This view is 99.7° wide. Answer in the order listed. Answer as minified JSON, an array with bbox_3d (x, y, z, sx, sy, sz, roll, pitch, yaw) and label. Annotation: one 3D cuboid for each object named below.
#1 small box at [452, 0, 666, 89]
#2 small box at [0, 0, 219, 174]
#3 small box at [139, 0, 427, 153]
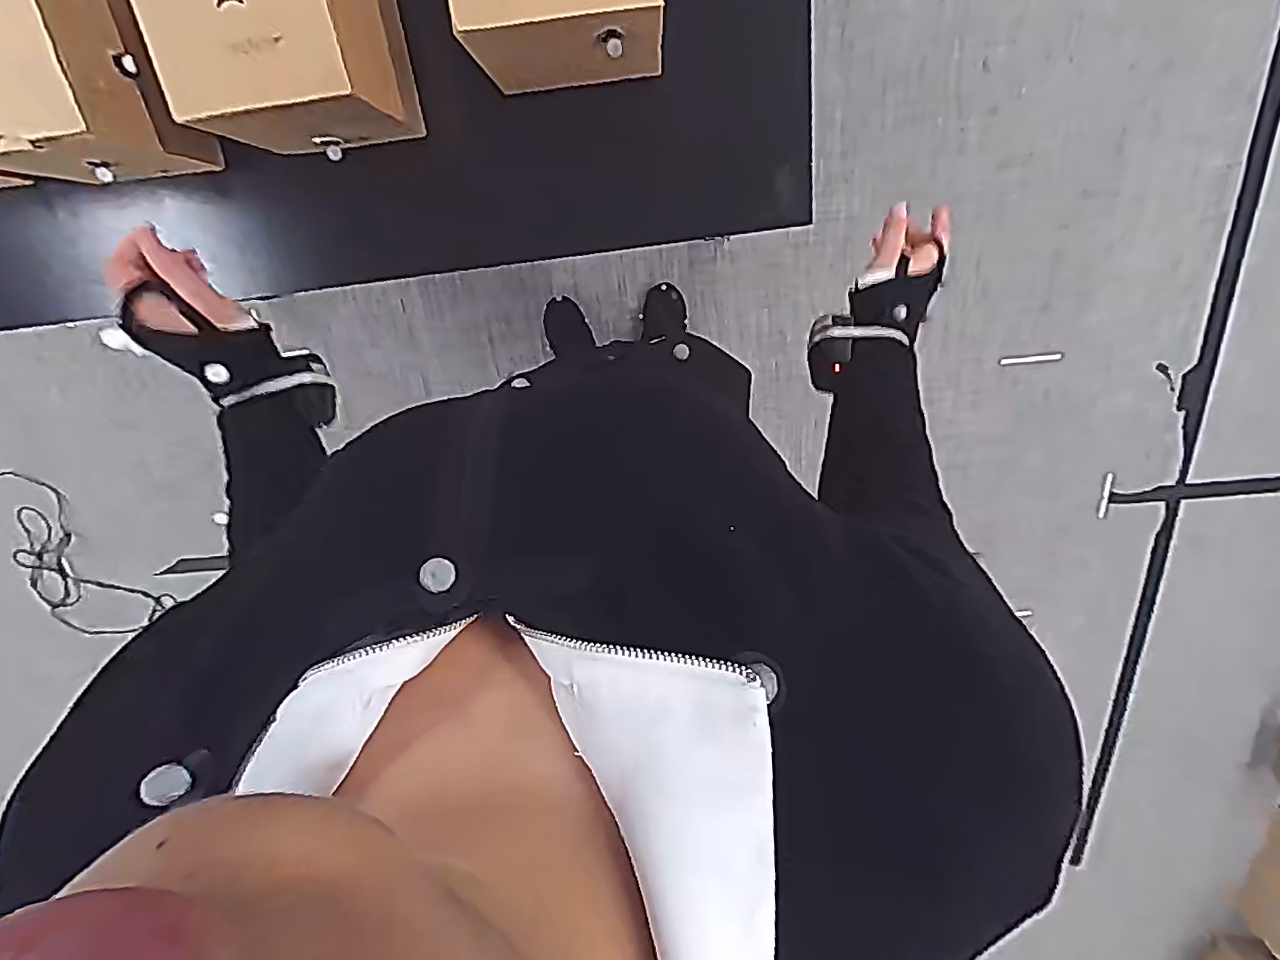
[{"bbox_3d":[-0.071,-0.480,0.489,0.179,0.176,0.168,-4,111,3],"label":"small box"},{"bbox_3d":[-0.567,-0.409,0.526,0.168,0.176,0.179,-6,112,2],"label":"small box"},{"bbox_3d":[-0.330,-0.435,0.515,0.168,0.176,0.179,-6,112,4],"label":"small box"}]
